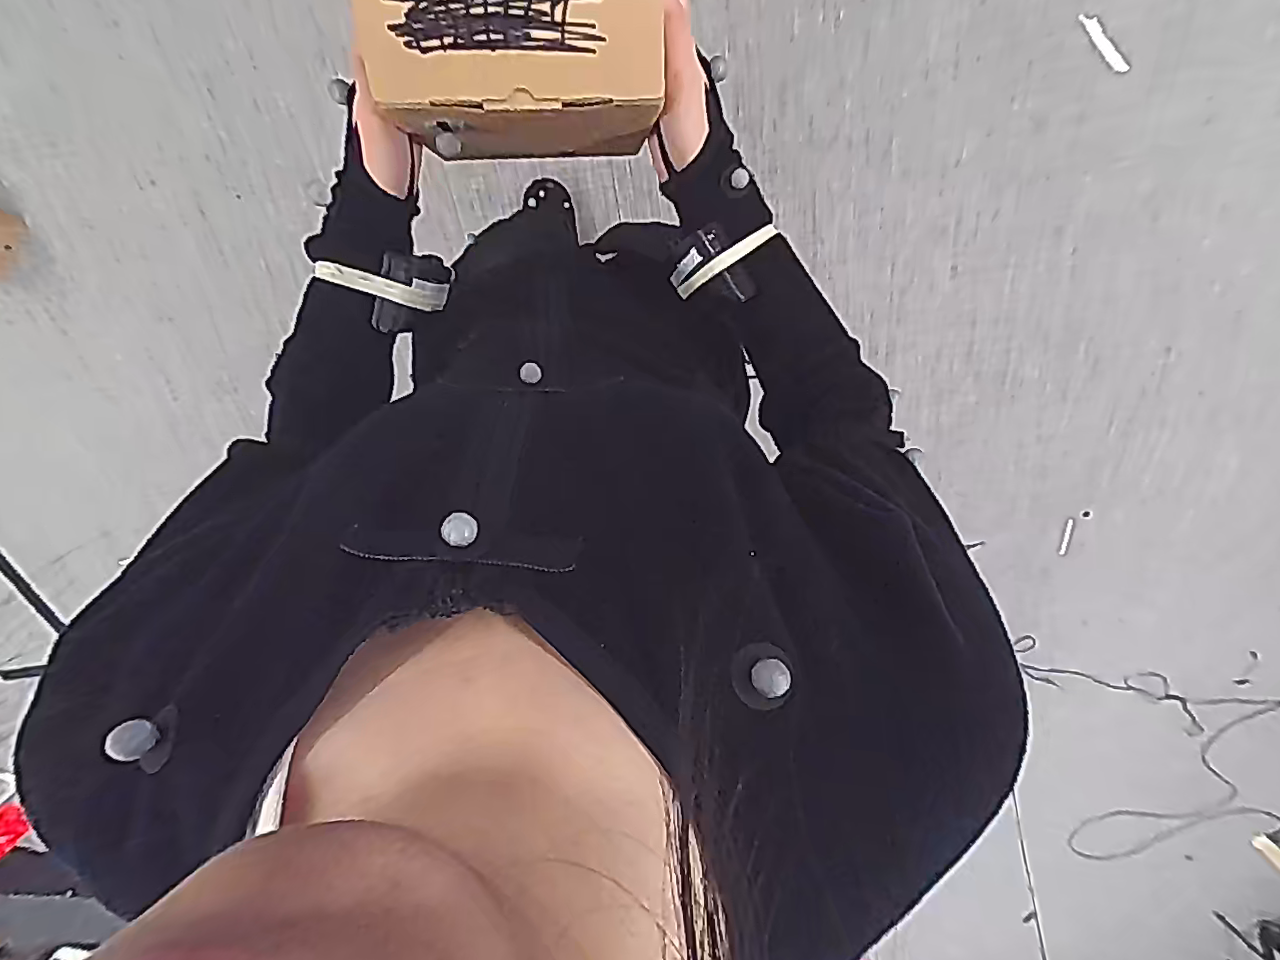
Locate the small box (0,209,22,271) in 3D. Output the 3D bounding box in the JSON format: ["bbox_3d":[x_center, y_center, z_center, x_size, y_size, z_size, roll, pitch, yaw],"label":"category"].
[{"bbox_3d":[-1.522,-0.546,1.163,0.179,0.176,0.168,40,109,-19],"label":"small box"}]
